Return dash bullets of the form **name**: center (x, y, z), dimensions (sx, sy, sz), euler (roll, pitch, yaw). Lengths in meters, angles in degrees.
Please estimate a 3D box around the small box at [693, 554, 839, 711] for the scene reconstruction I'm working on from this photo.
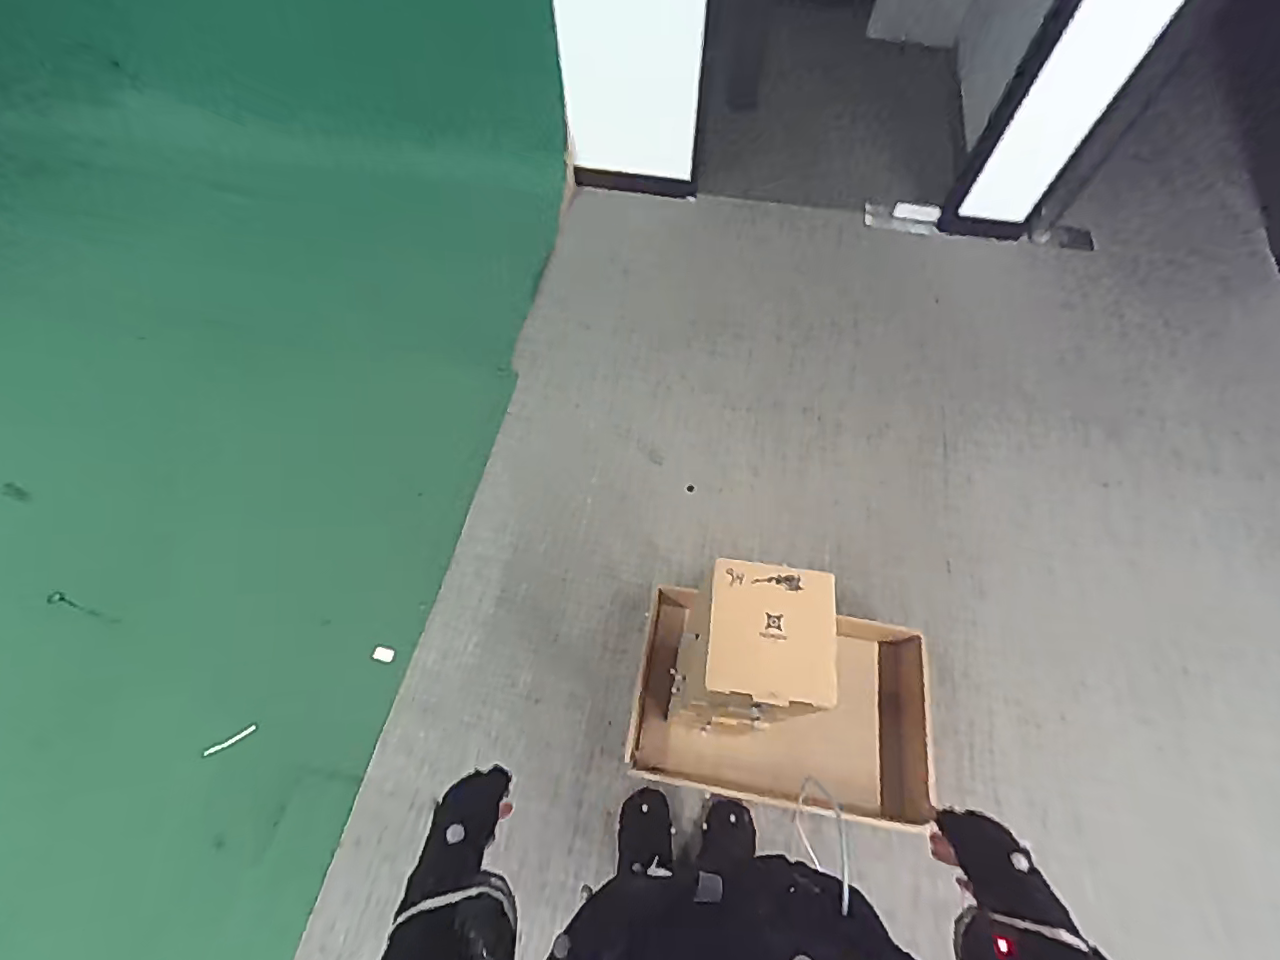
- **small box**: center (0.172, 0.223, 0.769), dimensions (0.168, 0.176, 0.179), euler (9, 65, 2)

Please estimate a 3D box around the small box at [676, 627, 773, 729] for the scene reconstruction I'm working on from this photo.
- **small box**: center (0.166, 0.376, 1.058), dimensions (0.168, 0.176, 0.179), euler (10, 64, 4)

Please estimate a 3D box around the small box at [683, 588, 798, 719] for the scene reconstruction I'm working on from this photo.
- **small box**: center (0.167, 0.299, 0.914), dimensions (0.168, 0.176, 0.179), euler (9, 64, 2)

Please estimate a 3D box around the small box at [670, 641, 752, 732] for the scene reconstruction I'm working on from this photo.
- **small box**: center (0.163, 0.450, 1.203), dimensions (0.168, 0.176, 0.179), euler (11, 64, 5)
